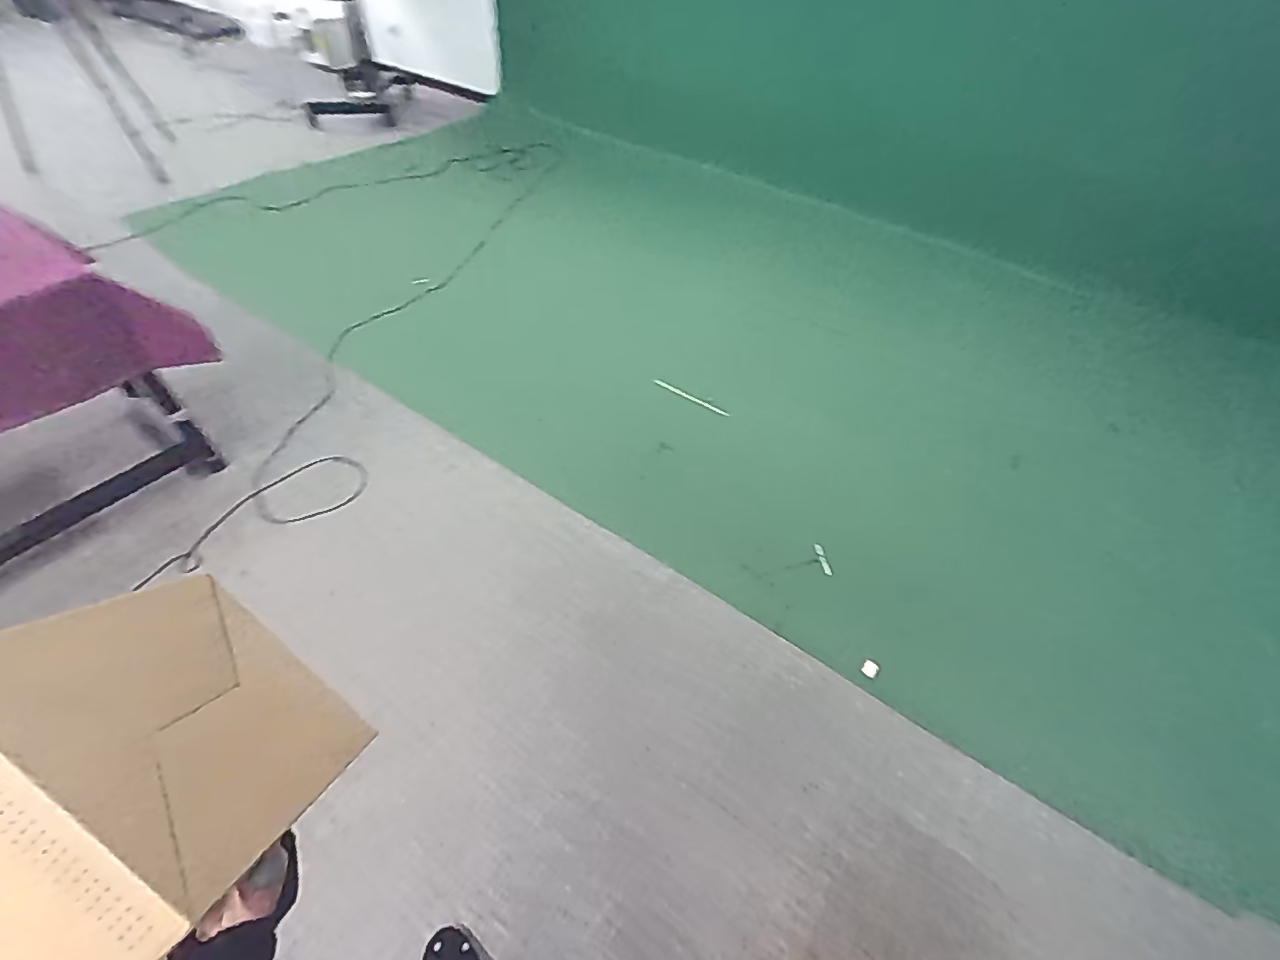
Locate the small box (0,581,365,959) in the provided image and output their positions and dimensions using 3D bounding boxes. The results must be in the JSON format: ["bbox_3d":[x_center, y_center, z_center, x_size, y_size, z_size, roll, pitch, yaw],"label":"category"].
[{"bbox_3d":[-0.317,0.191,0.330,0.179,0.168,0.176,44,95,-3],"label":"small box"}]
